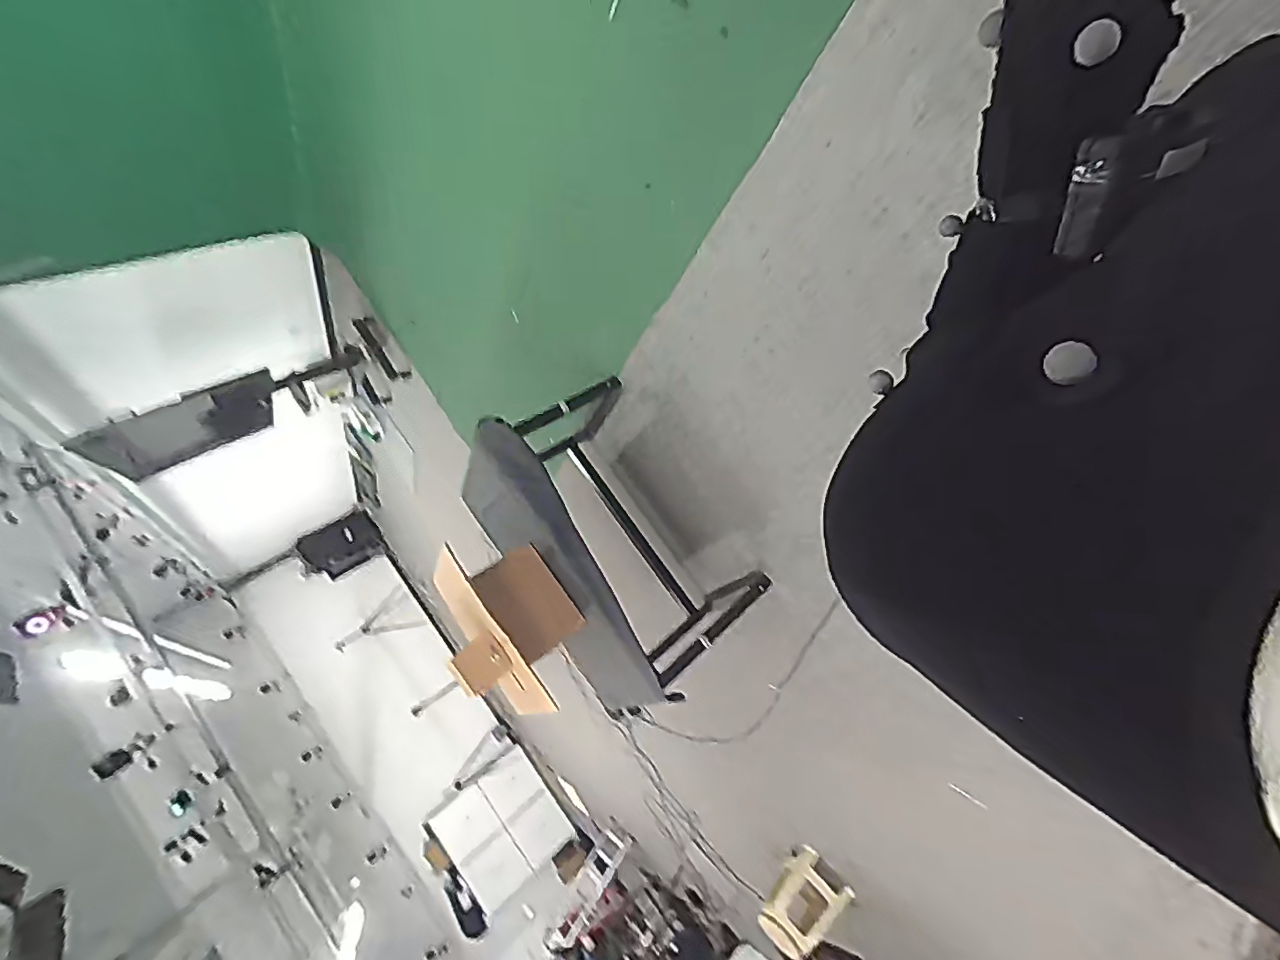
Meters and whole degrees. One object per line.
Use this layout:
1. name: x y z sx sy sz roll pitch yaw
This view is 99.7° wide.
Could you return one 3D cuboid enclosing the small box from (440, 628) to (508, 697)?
1. small box: -0.603 0.663 1.968 0.168 0.176 0.179 53 145 5
